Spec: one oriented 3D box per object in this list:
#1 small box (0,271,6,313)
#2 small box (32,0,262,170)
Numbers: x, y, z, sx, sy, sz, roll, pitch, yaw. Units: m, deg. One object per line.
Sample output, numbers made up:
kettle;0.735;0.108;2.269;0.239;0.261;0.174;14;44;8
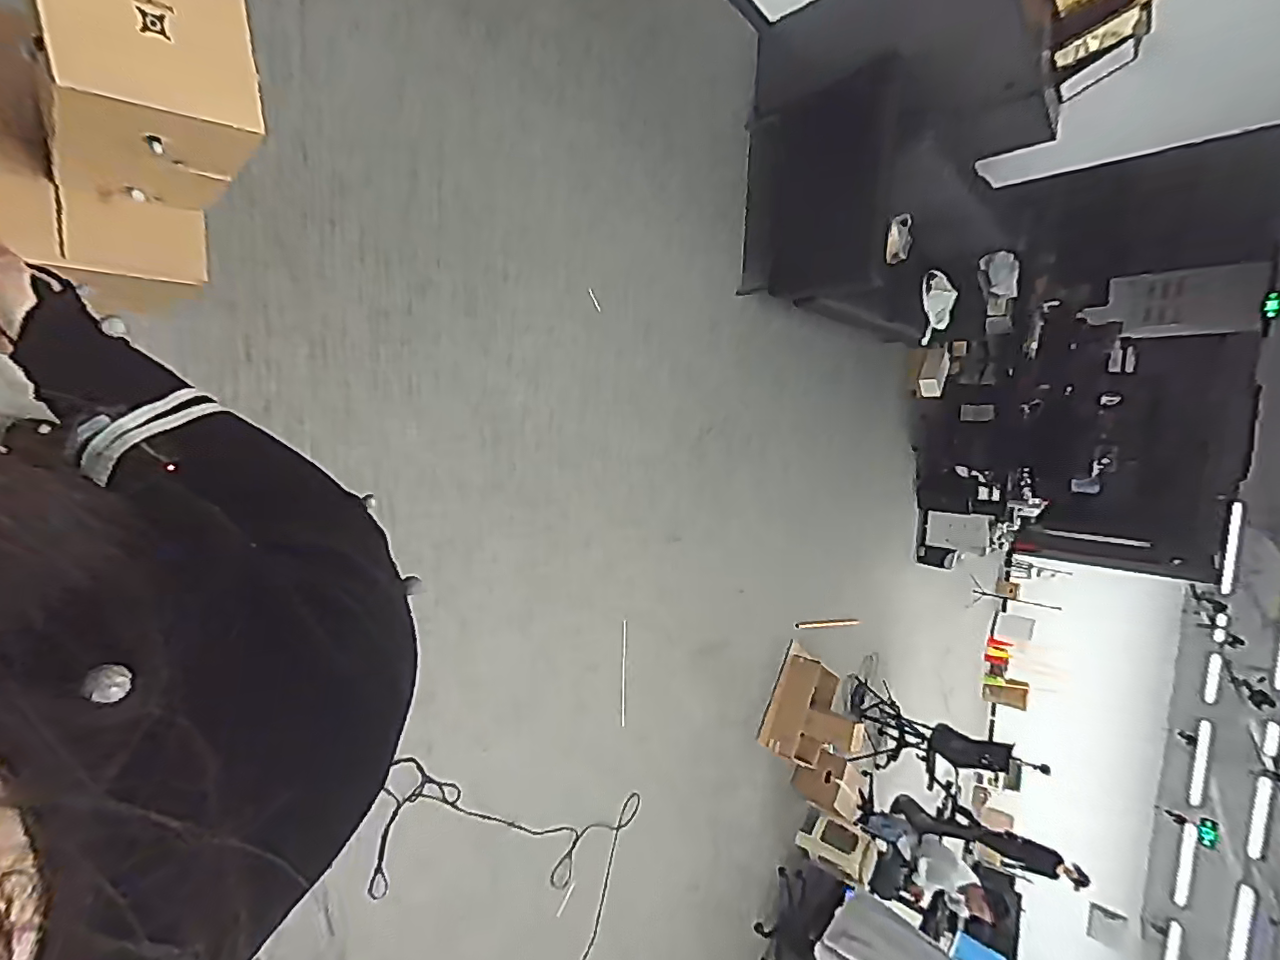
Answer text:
small box;-0.574;-0.204;0.366;0.168;0.176;0.179;-13;109;-46
small box;-0.544;-0.472;0.598;0.168;0.176;0.179;-13;105;-45
